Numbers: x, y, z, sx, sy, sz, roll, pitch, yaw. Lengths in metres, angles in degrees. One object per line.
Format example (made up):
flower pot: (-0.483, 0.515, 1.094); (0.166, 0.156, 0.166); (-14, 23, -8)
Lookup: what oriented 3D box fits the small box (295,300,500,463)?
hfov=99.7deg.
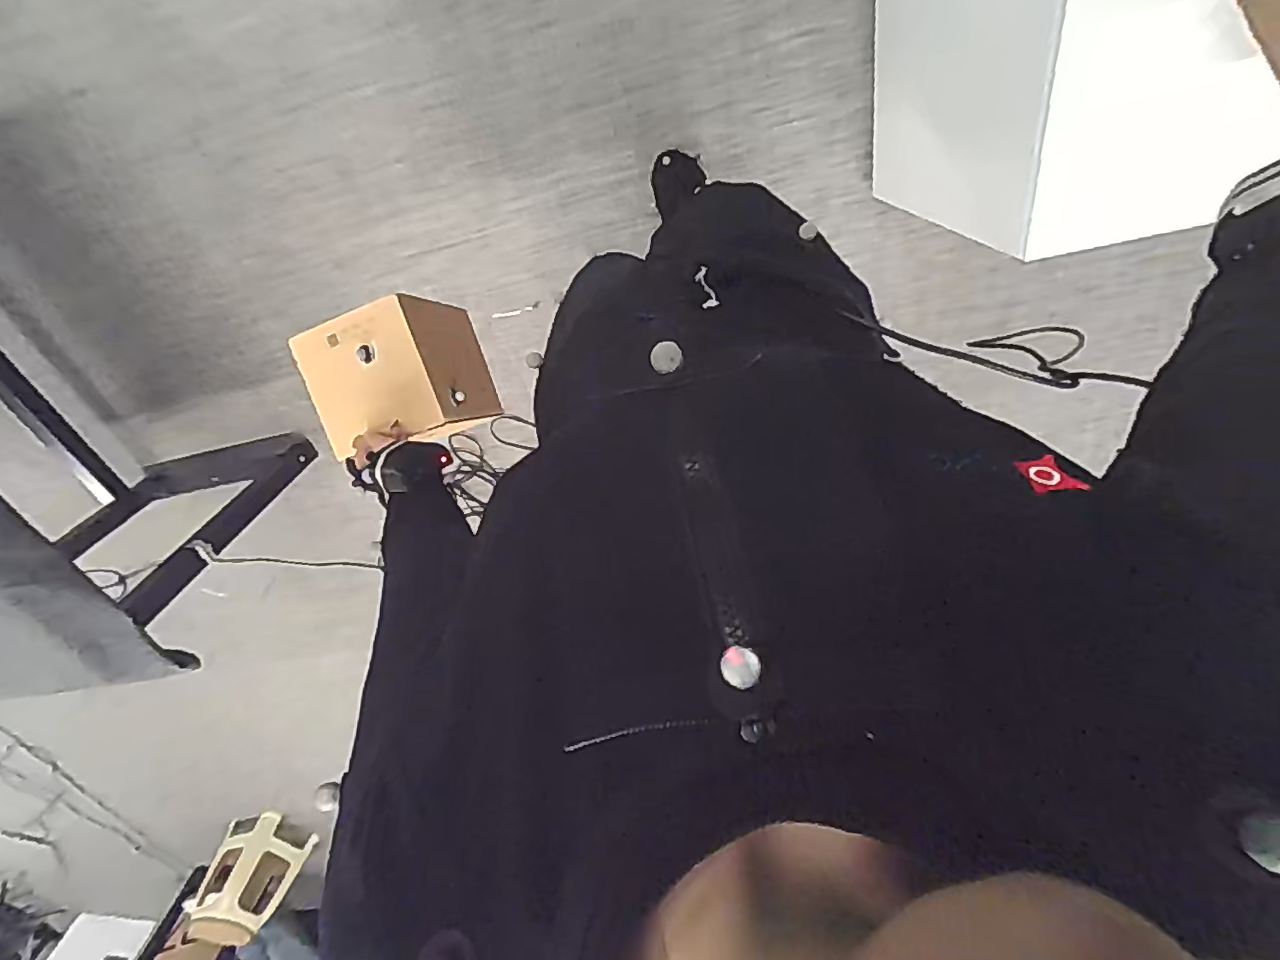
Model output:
small box: (-0.324, -0.137, 0.750); (0.168, 0.179, 0.176); (-17, 97, 13)
